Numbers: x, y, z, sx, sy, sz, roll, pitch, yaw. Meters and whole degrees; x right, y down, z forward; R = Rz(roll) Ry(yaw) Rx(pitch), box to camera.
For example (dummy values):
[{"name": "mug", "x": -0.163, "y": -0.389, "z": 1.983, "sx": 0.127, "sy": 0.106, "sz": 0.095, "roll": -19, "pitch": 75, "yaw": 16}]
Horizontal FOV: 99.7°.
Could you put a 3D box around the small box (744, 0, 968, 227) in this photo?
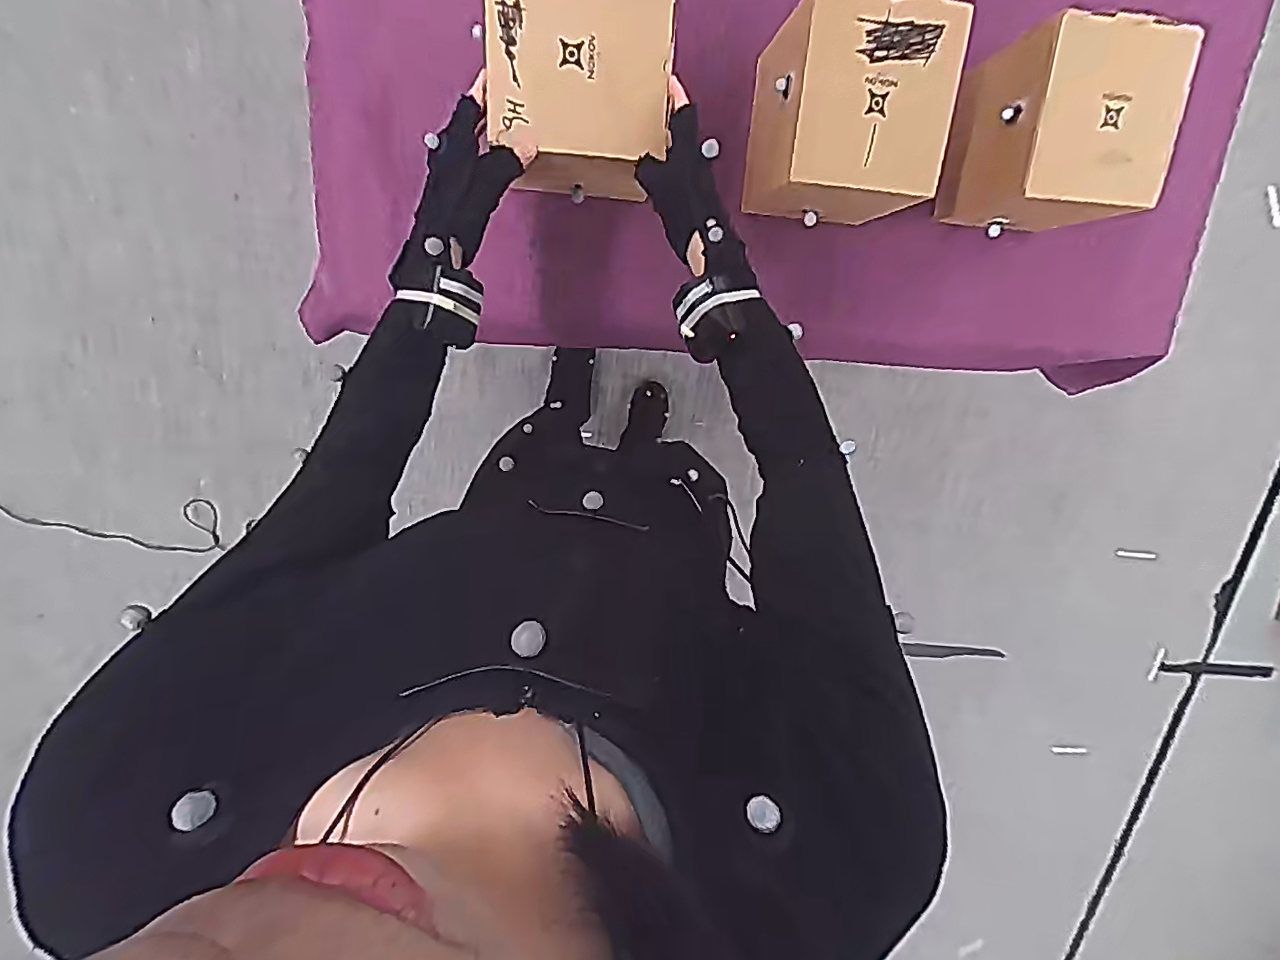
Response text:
[{"name": "small box", "x": 0.229, "y": -0.408, "z": 0.622, "sx": 0.168, "sy": 0.176, "sz": 0.179, "roll": 2, "pitch": 105, "yaw": -8}]

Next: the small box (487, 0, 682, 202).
[{"name": "small box", "x": -0.063, "y": -0.412, "z": 0.582, "sx": 0.179, "sy": 0.176, "sz": 0.168, "roll": 3, "pitch": 105, "yaw": -8}]

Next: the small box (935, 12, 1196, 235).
[{"name": "small box", "x": 0.494, "y": -0.412, "z": 0.658, "sx": 0.168, "sy": 0.176, "sz": 0.179, "roll": 1, "pitch": 105, "yaw": -6}]
